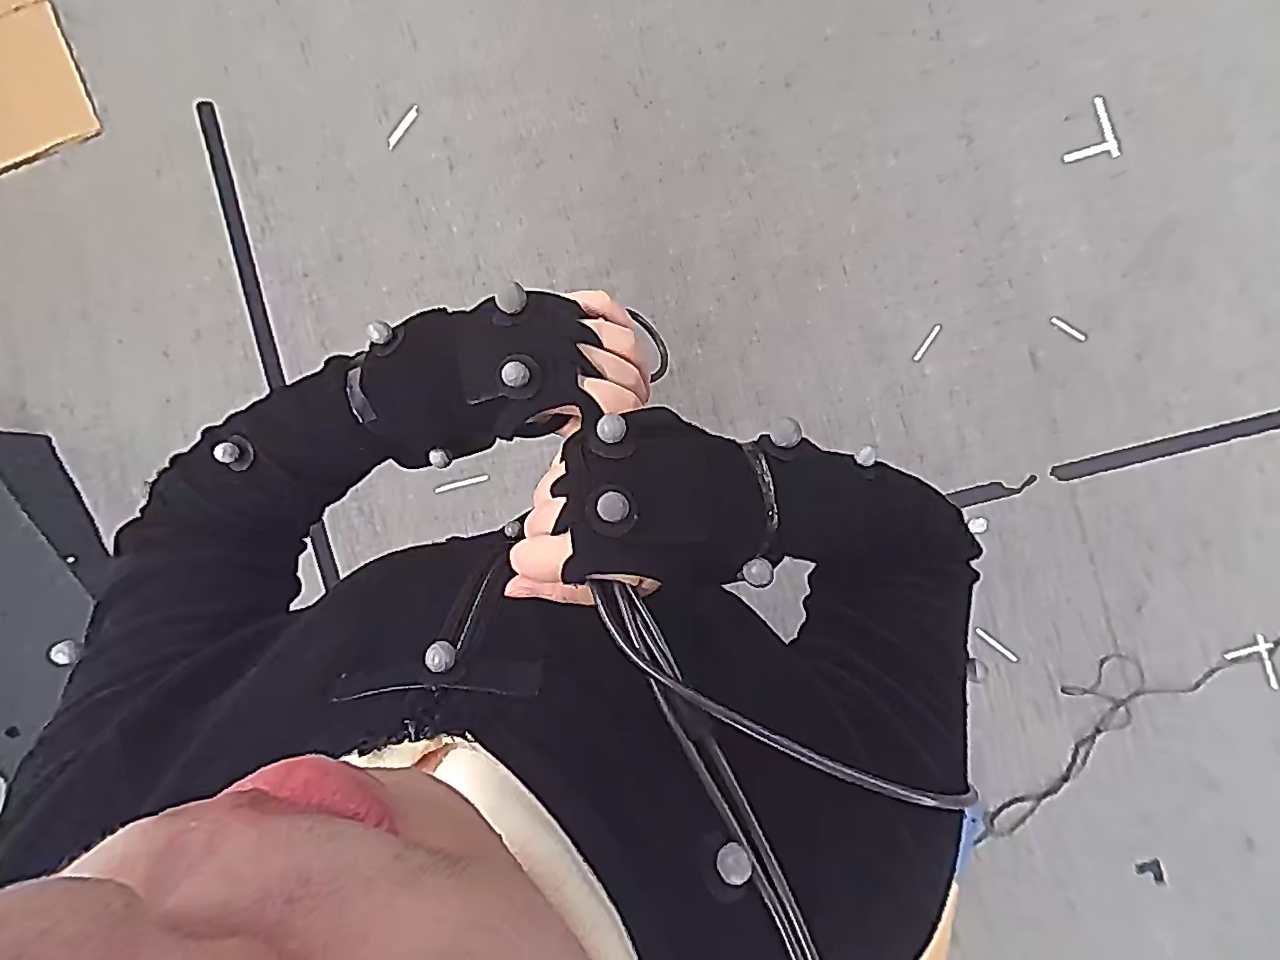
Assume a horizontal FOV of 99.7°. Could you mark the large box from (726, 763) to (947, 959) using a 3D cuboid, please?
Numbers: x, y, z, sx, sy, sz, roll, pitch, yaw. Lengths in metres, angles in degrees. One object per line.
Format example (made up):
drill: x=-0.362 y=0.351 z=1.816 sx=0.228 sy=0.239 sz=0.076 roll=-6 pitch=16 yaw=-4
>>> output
large box: x=0.393 y=0.898 z=1.162 sx=0.320 sy=0.320 sz=0.408 roll=11 pitch=91 yaw=0
